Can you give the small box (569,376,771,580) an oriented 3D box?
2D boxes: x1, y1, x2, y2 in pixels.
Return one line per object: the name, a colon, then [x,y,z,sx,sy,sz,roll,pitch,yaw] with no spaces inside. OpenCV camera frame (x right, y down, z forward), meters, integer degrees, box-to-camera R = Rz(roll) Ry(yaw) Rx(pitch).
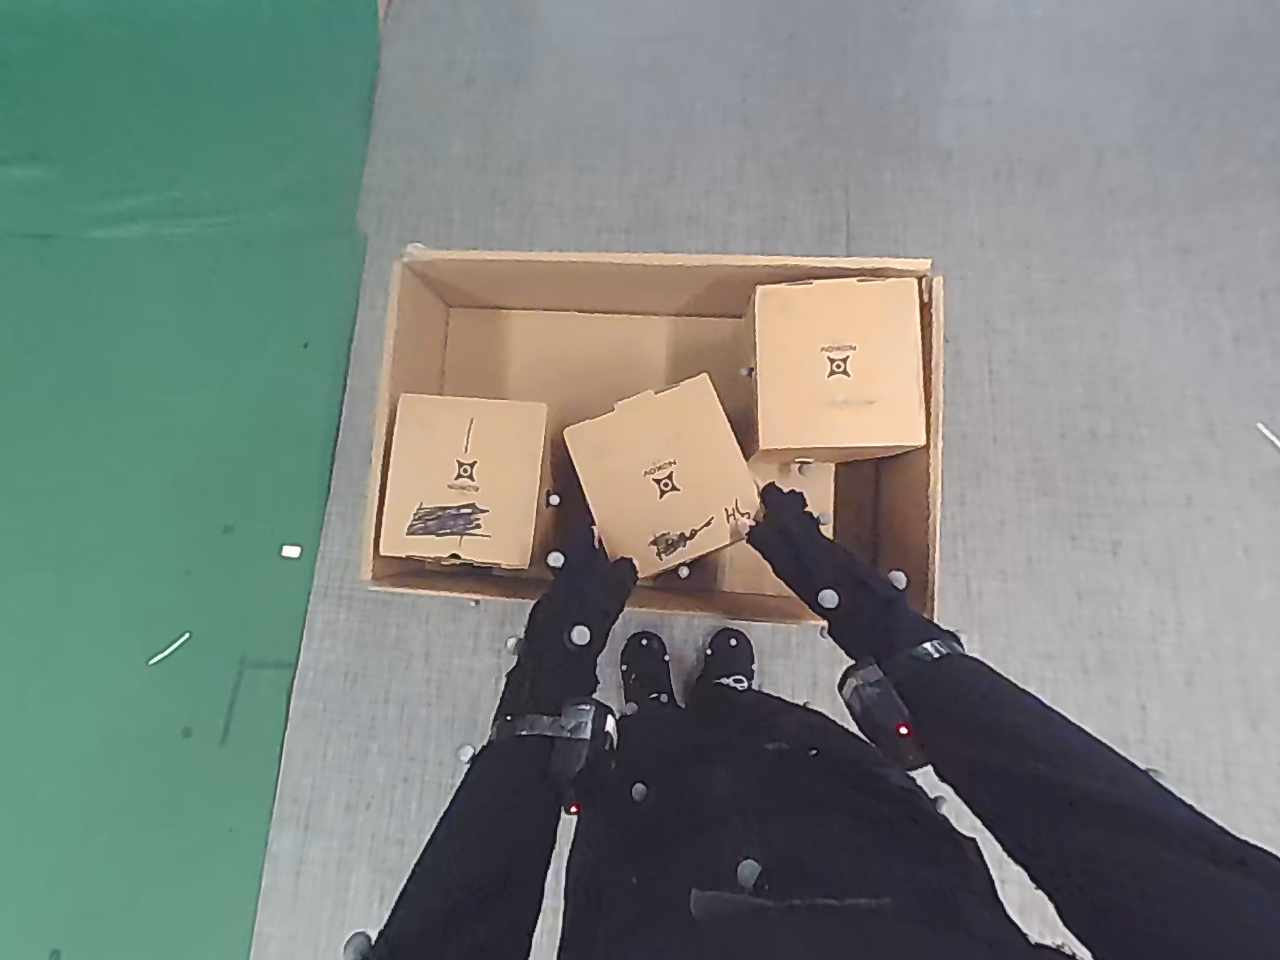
small box: [0.034,0.010,0.634,0.168,0.176,0.179,-21,79,2]
